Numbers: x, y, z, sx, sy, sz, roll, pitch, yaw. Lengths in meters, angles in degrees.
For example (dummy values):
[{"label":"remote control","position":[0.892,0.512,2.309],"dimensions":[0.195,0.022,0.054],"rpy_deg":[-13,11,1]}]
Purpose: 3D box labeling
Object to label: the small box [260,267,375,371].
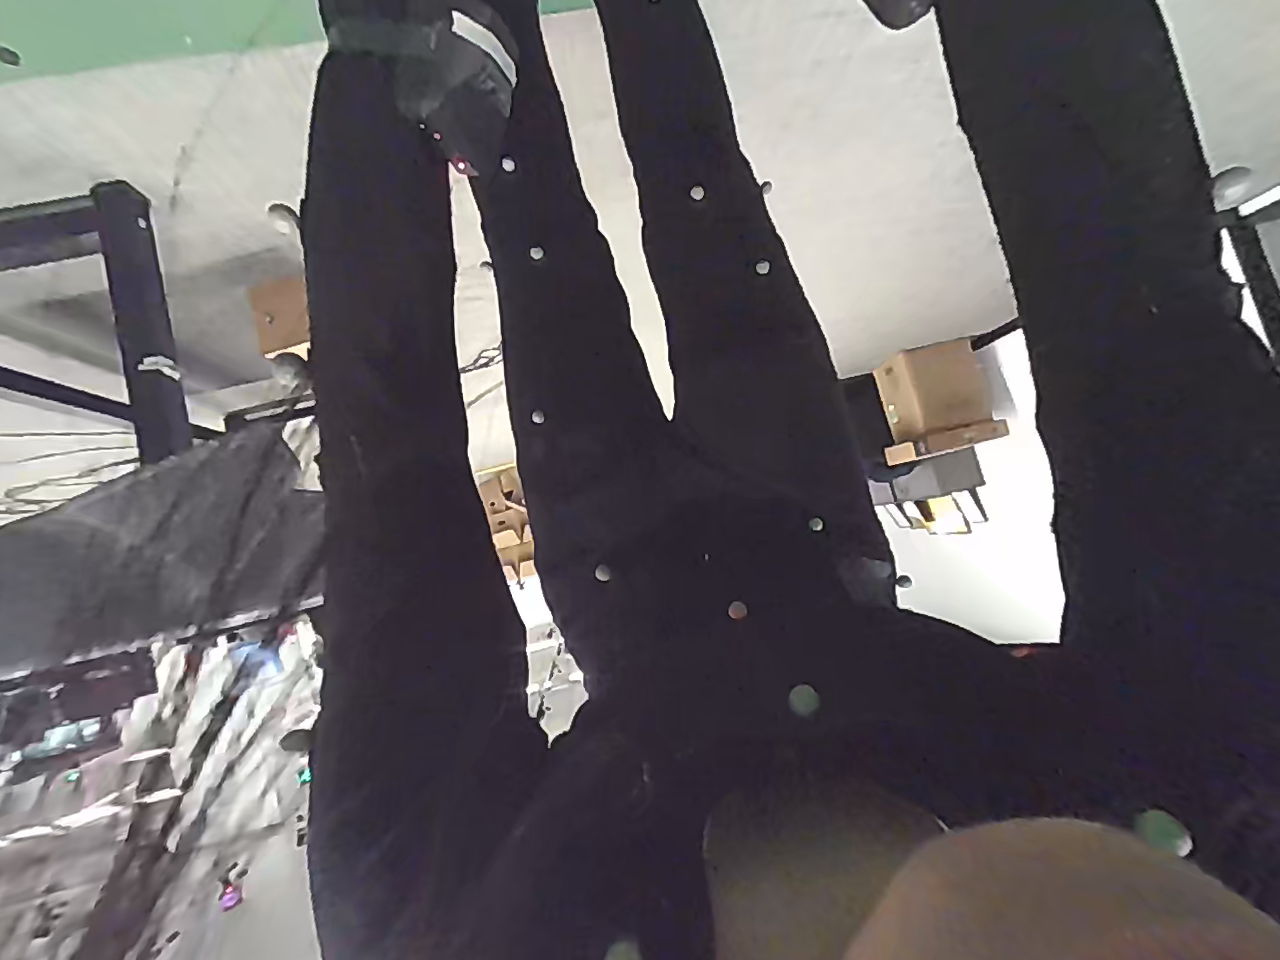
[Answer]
[{"label":"small box","position":[-0.777,-0.383,1.303],"dimensions":[0.179,0.176,0.168],"rpy_deg":[-14,177,5]}]
